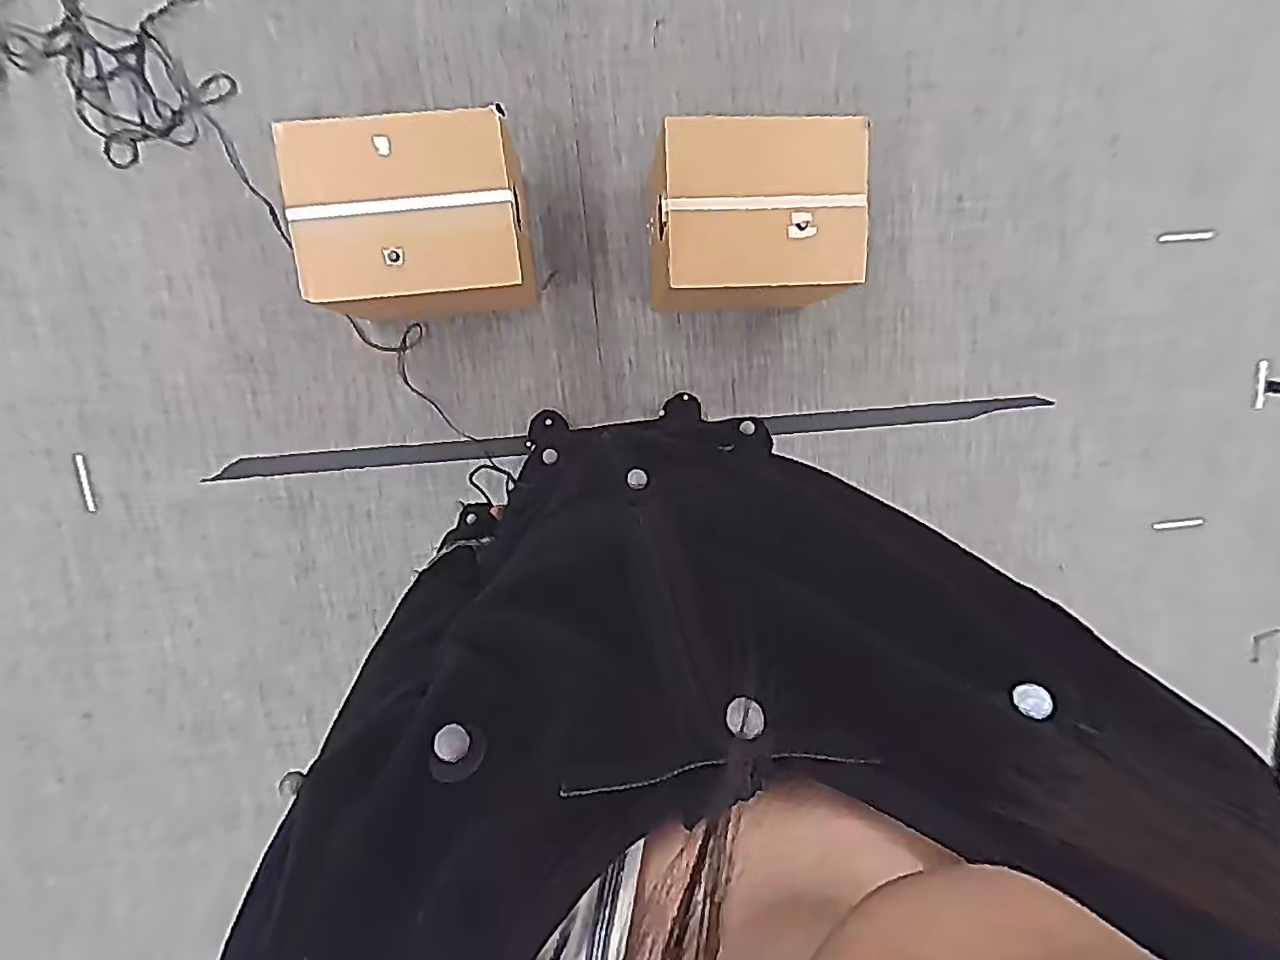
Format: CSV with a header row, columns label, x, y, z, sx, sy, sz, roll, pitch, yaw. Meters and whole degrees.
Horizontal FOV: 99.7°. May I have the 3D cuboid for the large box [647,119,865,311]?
label,x,y,z,sx,sy,sz,roll,pitch,yaw
large box,0.237,-0.568,1.214,0.408,0.320,0.320,-3,100,-6
